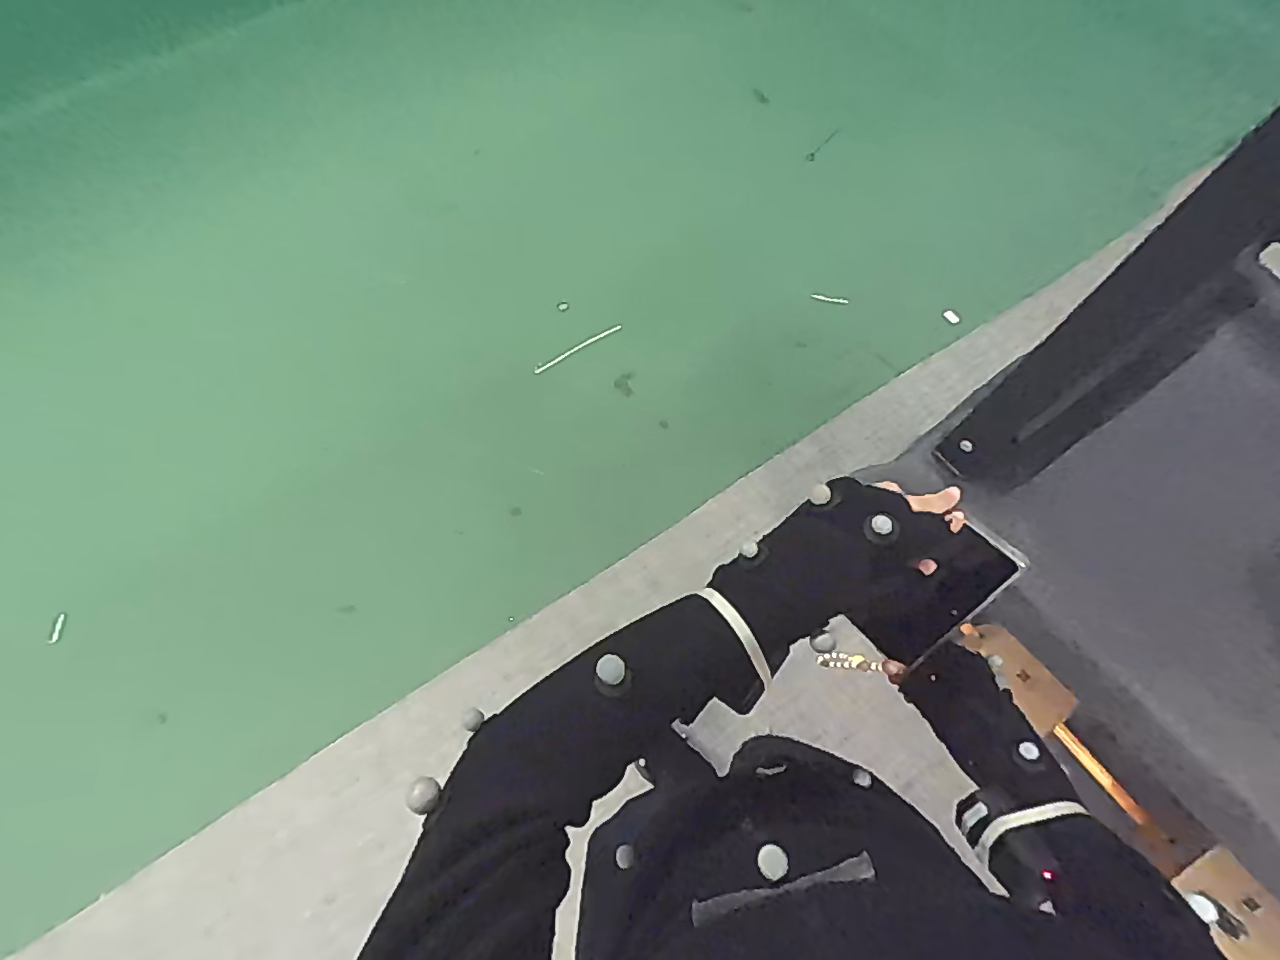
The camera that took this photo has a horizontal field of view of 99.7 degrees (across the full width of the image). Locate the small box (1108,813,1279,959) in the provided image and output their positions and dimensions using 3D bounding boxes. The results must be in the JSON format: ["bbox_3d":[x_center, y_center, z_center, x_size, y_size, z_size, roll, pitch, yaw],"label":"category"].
[{"bbox_3d":[0.990,0.724,0.951,0.179,0.176,0.168,-30,68,-9],"label":"small box"}]
